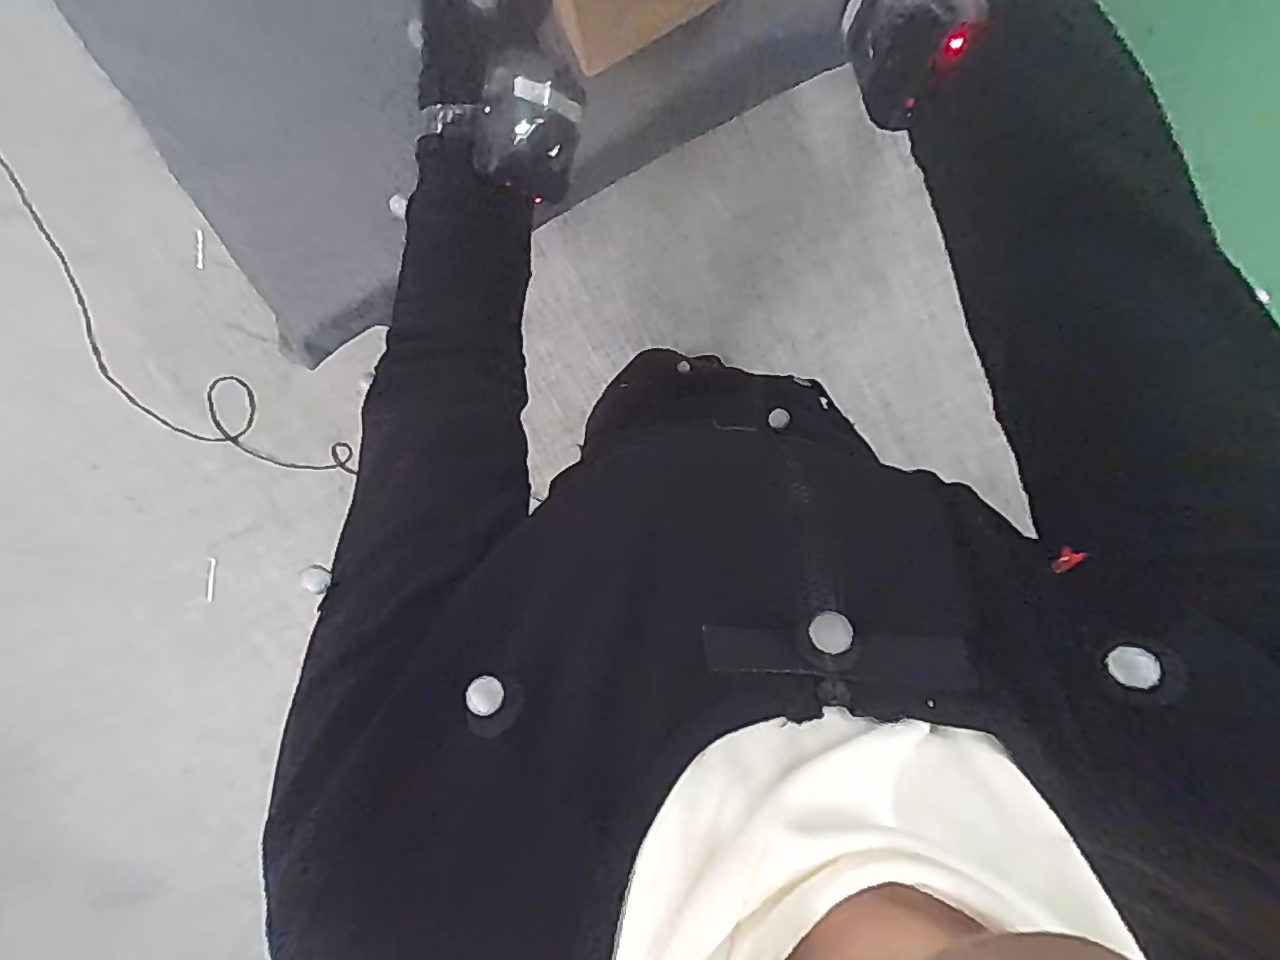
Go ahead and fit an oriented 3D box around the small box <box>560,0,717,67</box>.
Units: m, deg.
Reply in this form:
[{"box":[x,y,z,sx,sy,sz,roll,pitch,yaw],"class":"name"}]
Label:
[{"box":[-0.015,-0.525,0.481,0.179,0.176,0.168,-25,101,9],"class":"small box"}]
